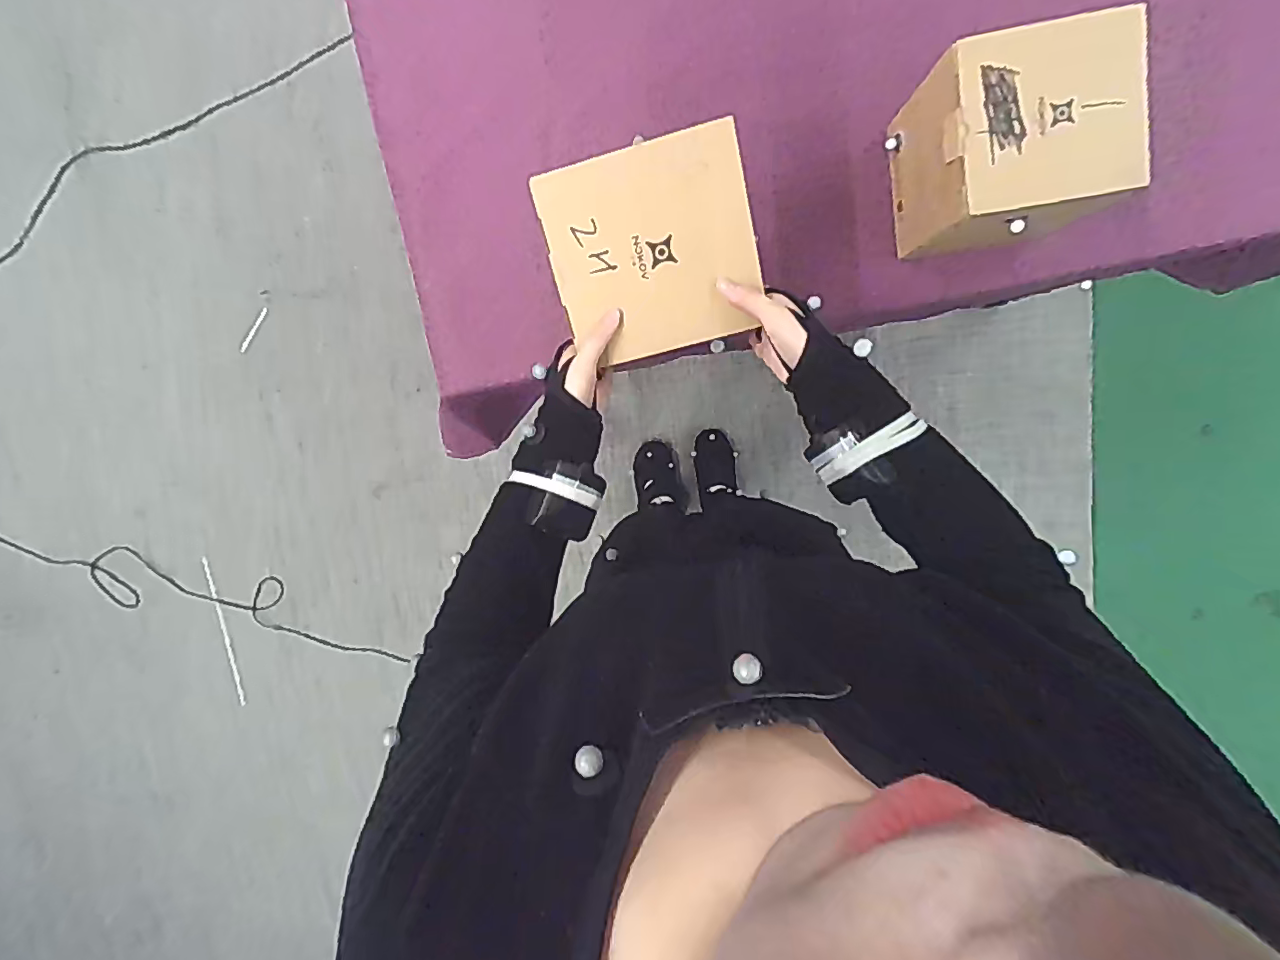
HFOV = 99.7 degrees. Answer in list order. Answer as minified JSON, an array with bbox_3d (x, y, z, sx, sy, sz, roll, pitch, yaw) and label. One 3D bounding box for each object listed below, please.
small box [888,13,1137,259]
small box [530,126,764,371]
[{"bbox_3d":[0.396,-0.362,0.607,0.179,0.176,0.168,-8,98,4],"label":"small box"},{"bbox_3d":[0.012,-0.216,0.537,0.179,0.176,0.168,-11,107,8],"label":"small box"}]
